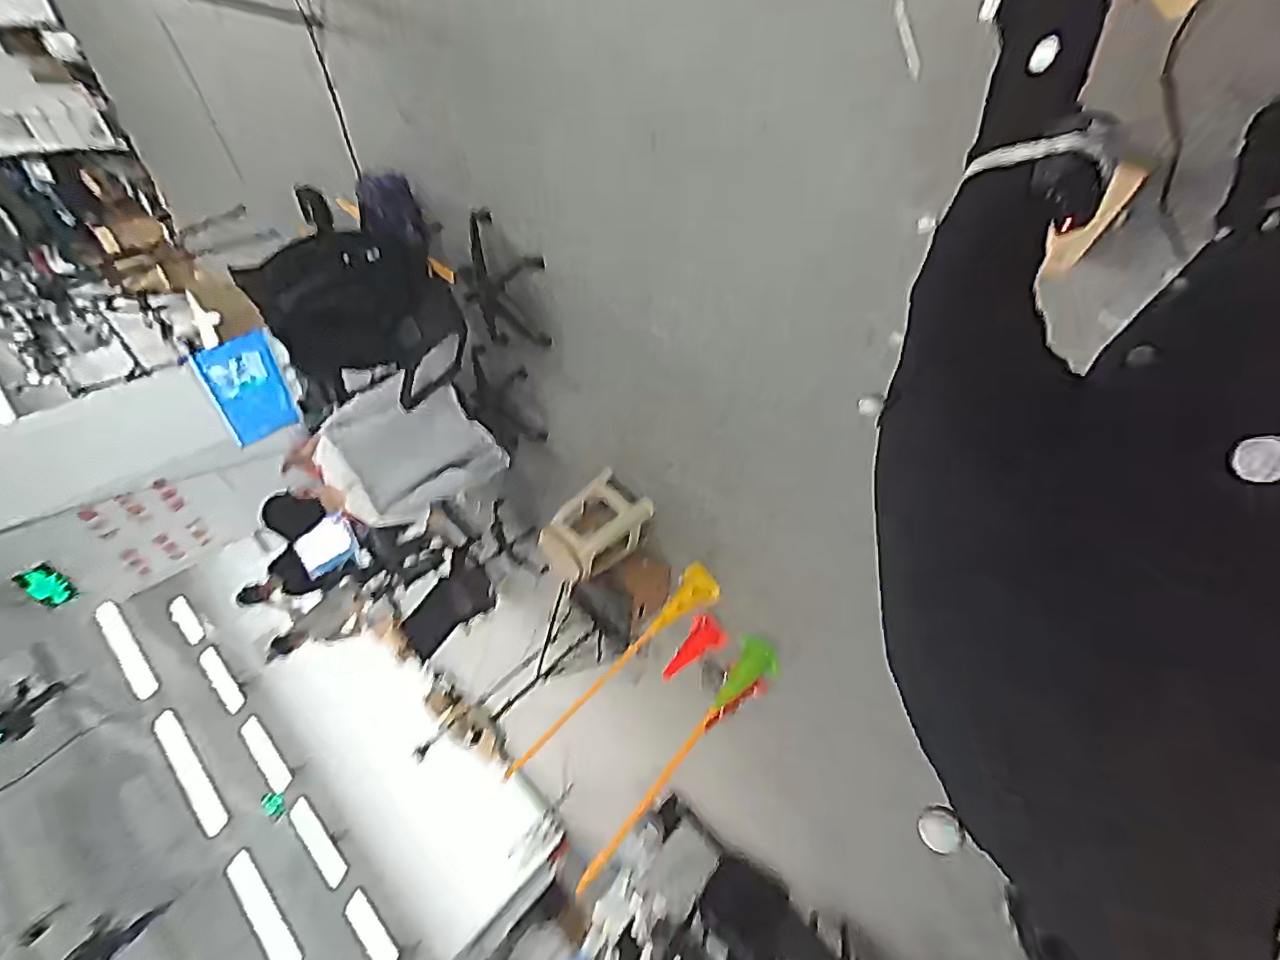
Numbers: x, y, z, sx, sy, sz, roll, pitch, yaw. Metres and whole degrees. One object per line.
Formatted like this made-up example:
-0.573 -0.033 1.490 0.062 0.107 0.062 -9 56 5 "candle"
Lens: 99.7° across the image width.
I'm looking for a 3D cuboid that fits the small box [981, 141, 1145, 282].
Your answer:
0.793 -0.509 1.014 0.168 0.176 0.179 41 142 19 "small box"
